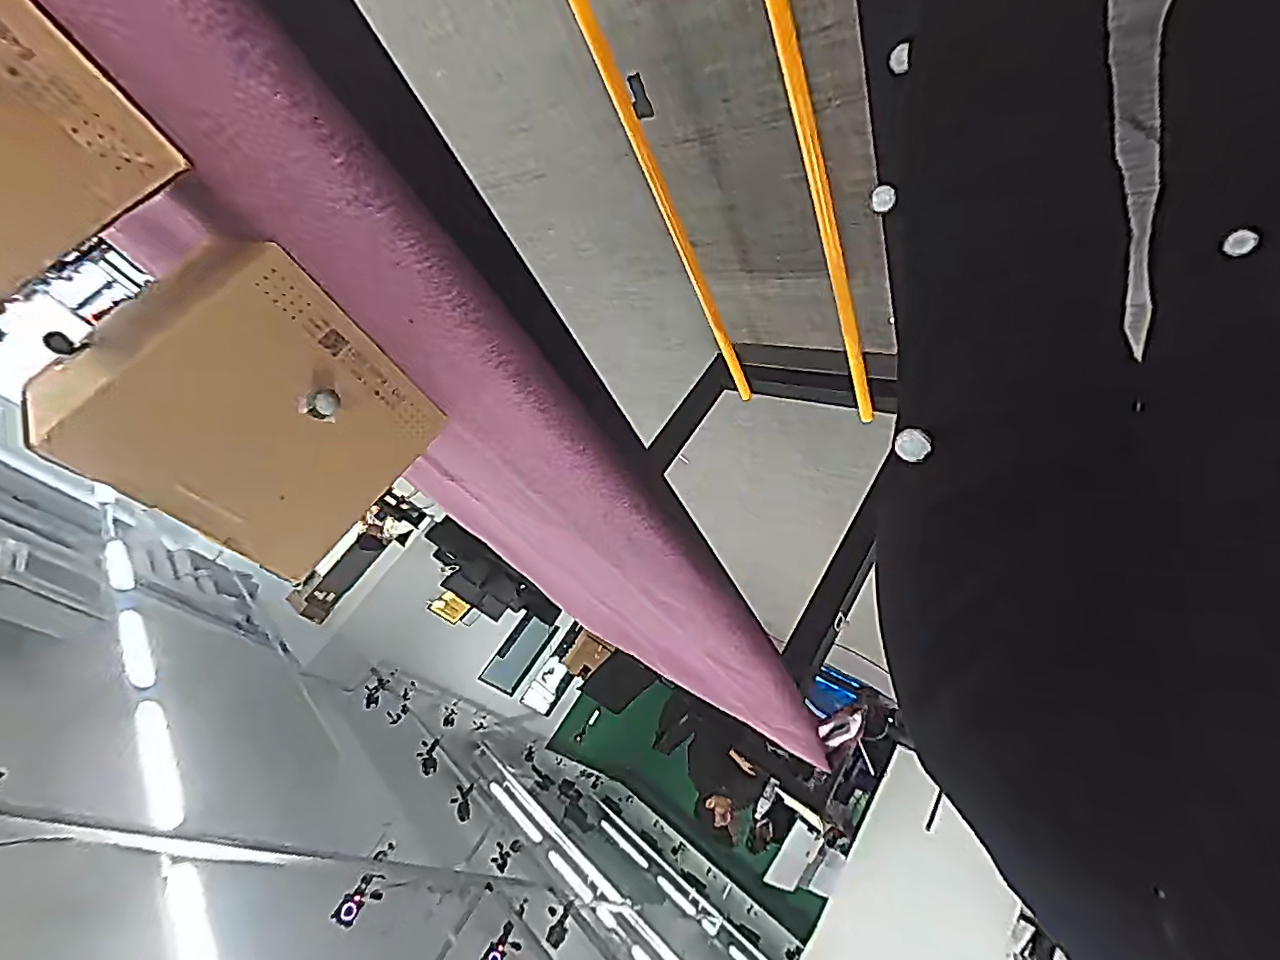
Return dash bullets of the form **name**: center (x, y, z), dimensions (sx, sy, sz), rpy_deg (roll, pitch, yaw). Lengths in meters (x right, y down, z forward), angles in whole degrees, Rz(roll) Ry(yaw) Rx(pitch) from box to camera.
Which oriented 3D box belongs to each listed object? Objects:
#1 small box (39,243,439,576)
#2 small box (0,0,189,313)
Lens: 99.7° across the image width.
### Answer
- **small box**: center (-0.294, -0.062, 0.420), dimensions (0.179, 0.176, 0.168), rpy_deg (22, 158, 39)
- **small box**: center (-0.385, -0.186, 0.276), dimensions (0.179, 0.176, 0.168), rpy_deg (22, 158, 39)
